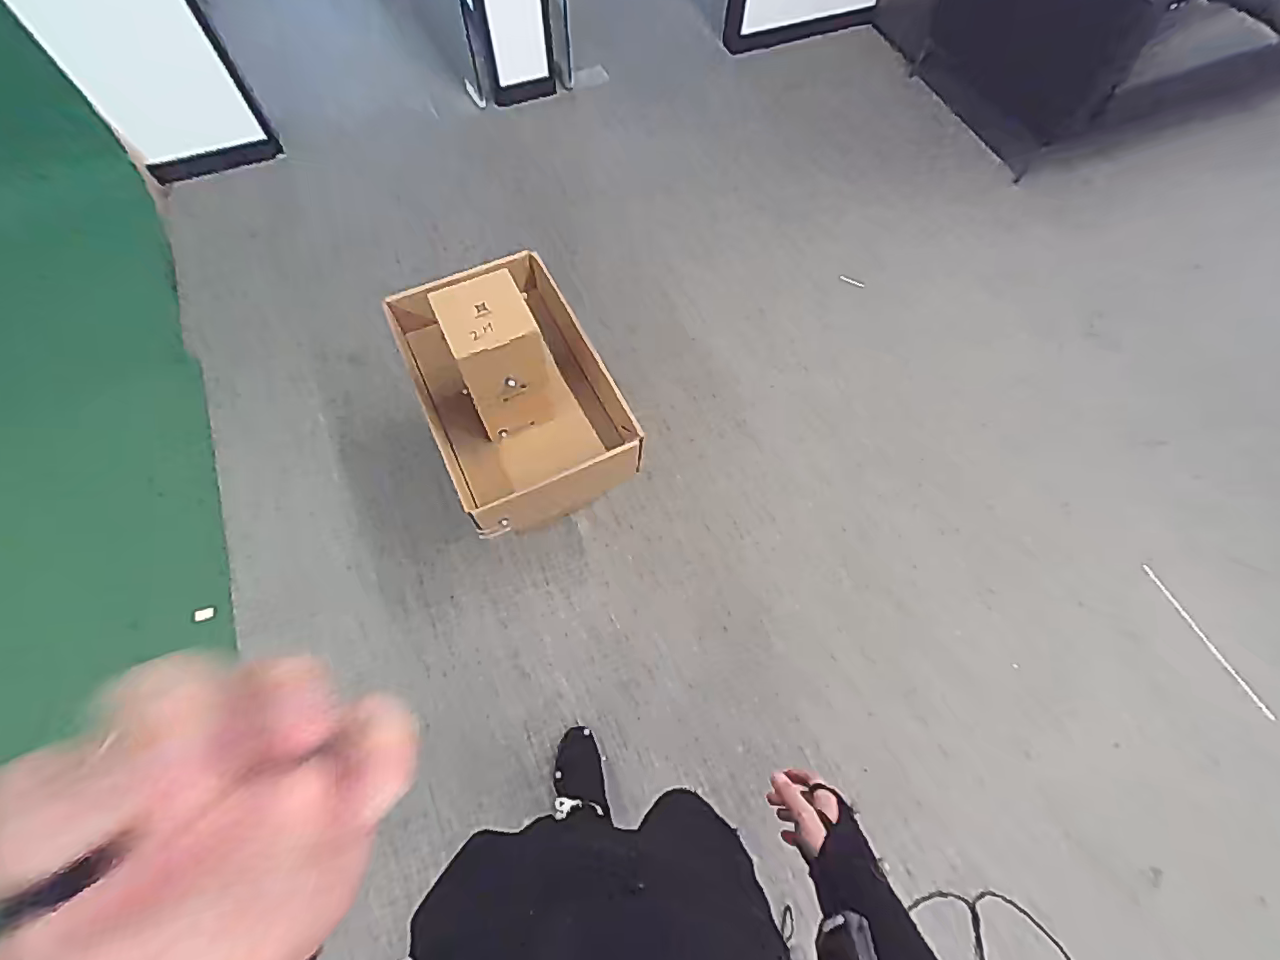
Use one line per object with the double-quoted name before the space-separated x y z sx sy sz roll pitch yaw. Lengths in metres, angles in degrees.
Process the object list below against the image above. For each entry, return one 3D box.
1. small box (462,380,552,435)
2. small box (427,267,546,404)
"small box" -0.313 -0.225 1.241 0.168 0.176 0.179 -23 67 -12
"small box" -0.302 -0.286 1.088 0.168 0.176 0.179 -24 68 -12
